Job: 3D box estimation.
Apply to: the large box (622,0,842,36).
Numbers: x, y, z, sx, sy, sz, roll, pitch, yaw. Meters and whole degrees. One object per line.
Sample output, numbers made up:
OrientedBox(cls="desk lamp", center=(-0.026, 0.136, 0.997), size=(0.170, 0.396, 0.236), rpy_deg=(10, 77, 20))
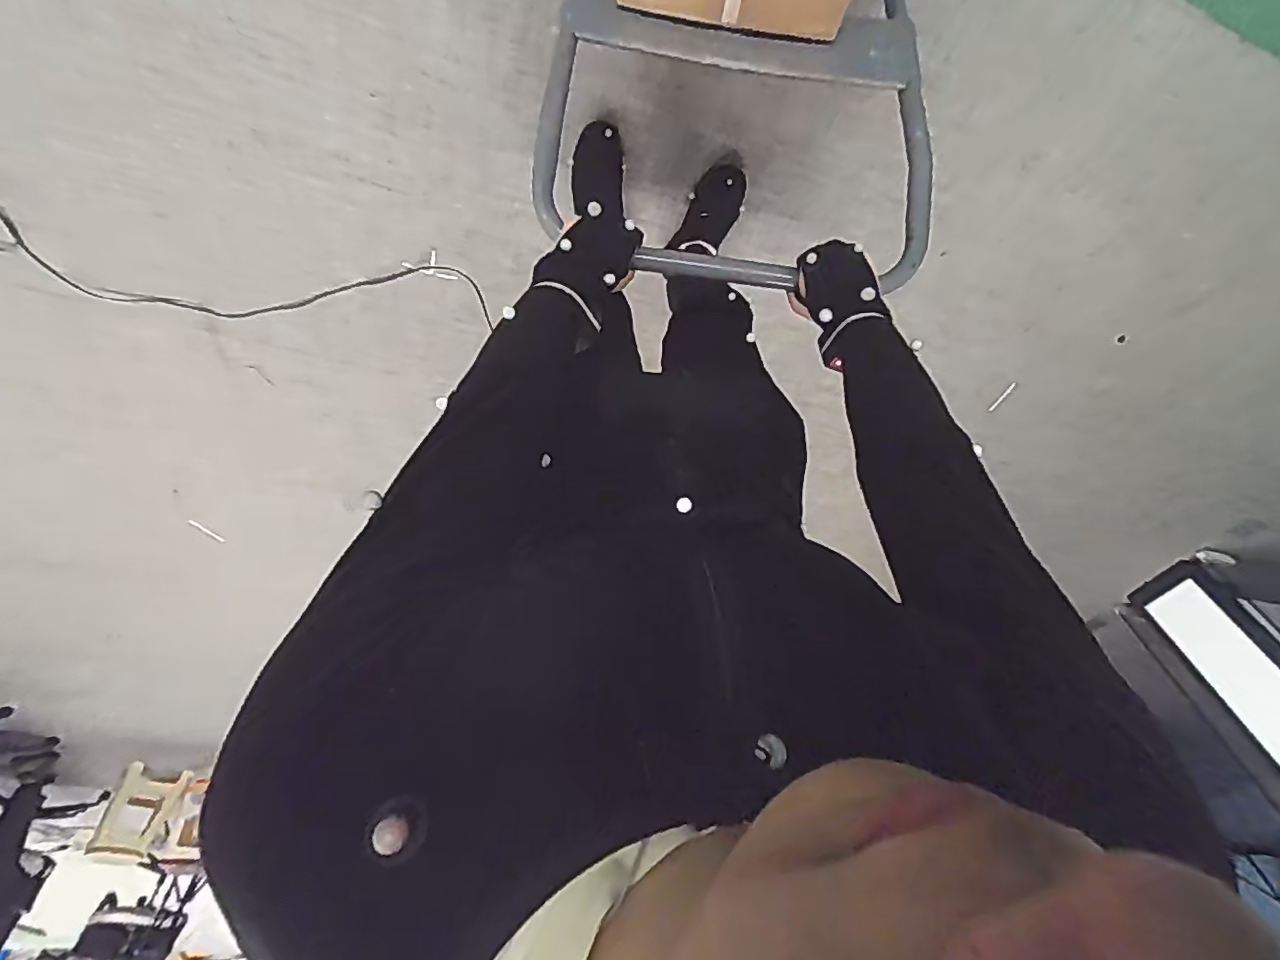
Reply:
OrientedBox(cls="large box", center=(0.151, -0.871, 0.658), size=(0.320, 0.320, 0.408), rpy_deg=(7, 154, -4))
